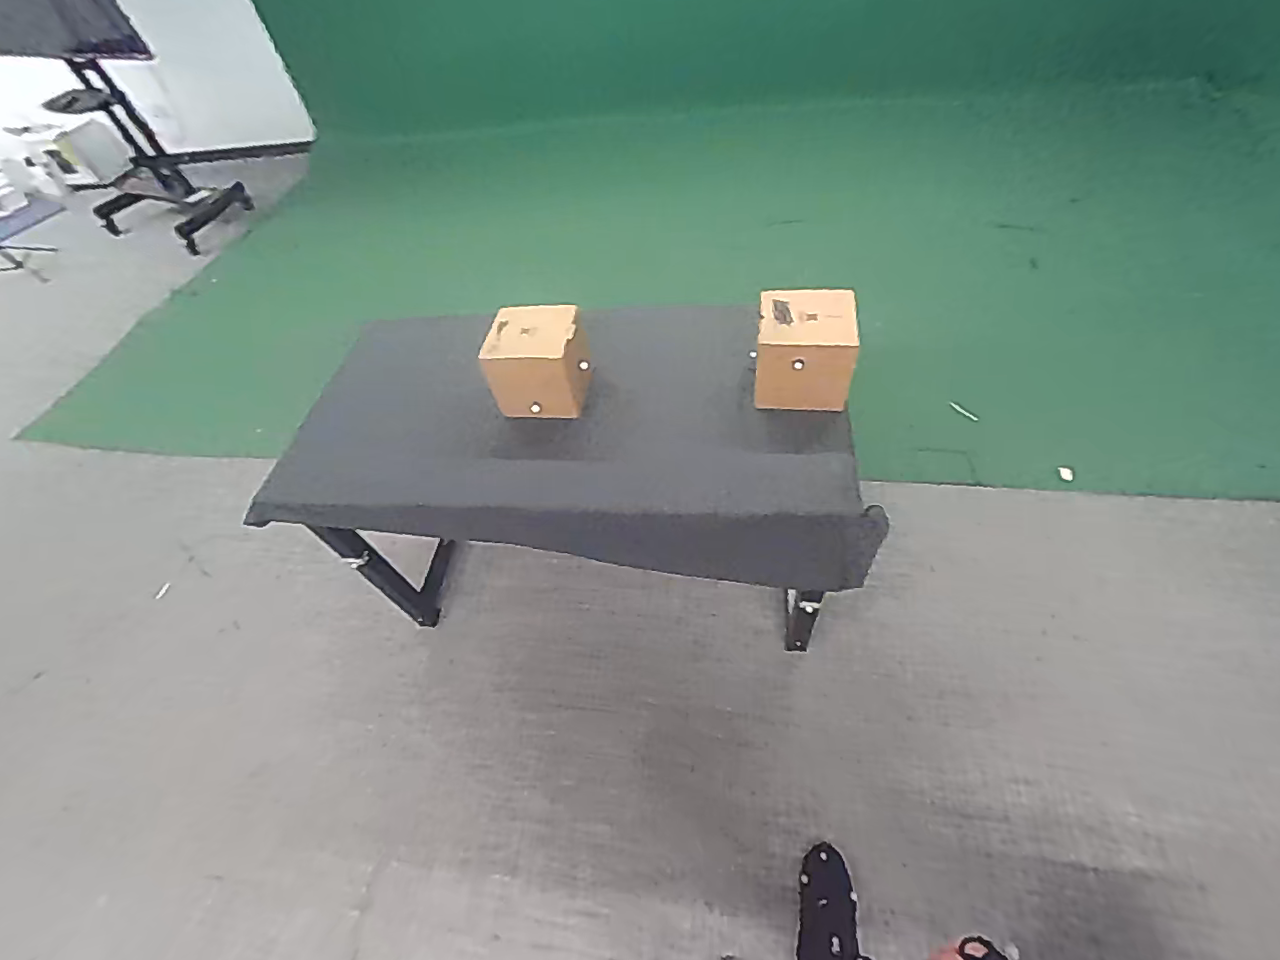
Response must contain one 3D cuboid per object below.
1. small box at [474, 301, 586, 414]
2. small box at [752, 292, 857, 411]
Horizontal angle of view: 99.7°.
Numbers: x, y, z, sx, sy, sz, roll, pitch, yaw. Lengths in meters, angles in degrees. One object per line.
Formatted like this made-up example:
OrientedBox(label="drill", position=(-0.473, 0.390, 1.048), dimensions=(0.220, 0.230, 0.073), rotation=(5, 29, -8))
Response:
OrientedBox(label="small box", position=(-0.219, -0.254, 1.133), dimensions=(0.179, 0.176, 0.168), rotation=(3, 52, 8))
OrientedBox(label="small box", position=(0.318, -0.253, 1.077), dimensions=(0.179, 0.176, 0.168), rotation=(5, 53, 9))
